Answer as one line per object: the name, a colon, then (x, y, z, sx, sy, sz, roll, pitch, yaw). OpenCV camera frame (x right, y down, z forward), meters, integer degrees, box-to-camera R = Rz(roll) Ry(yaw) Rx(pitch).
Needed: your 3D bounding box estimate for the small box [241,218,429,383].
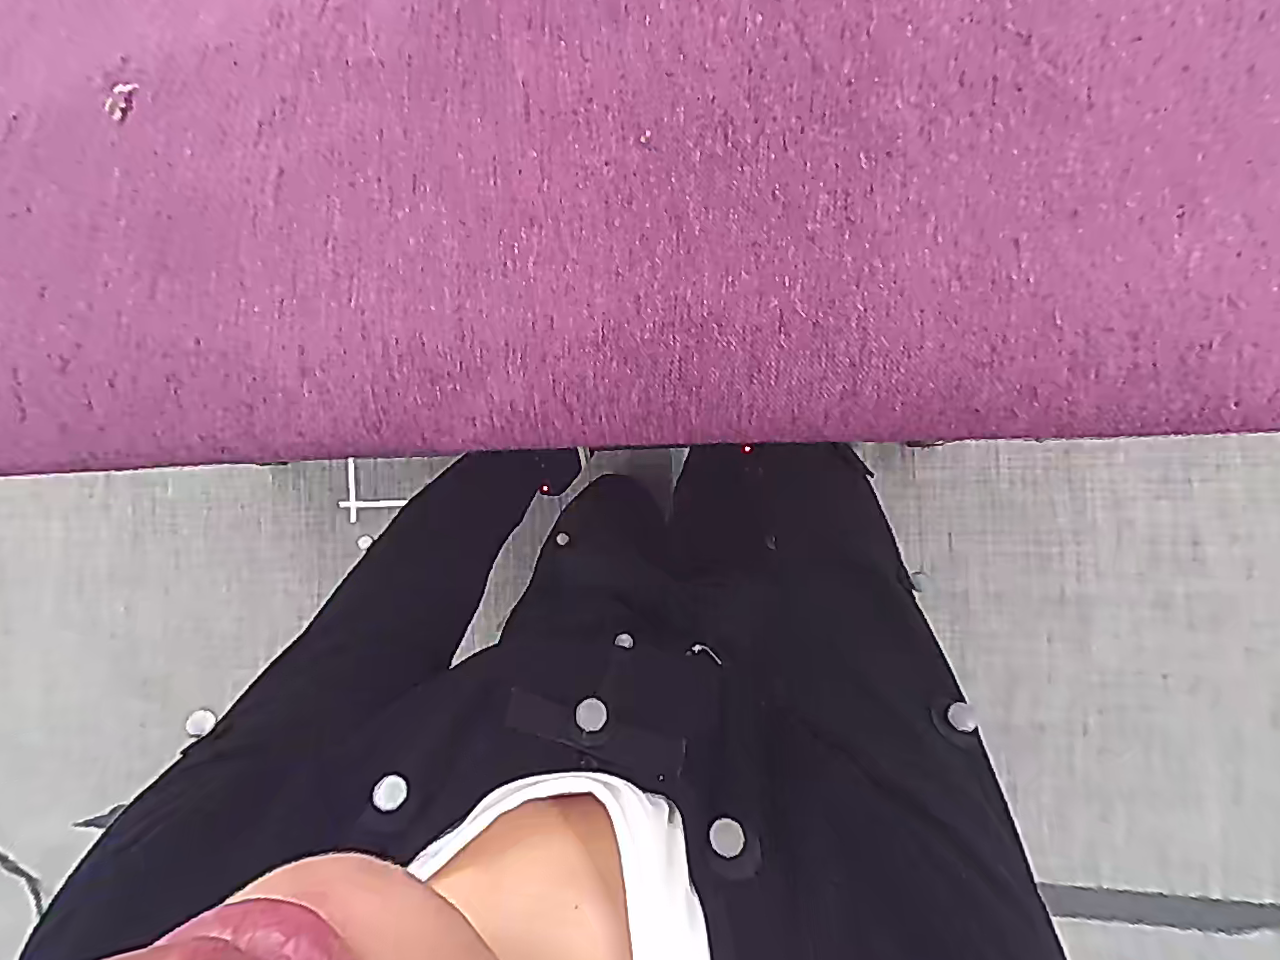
small box: (-0.418, -0.241, 0.764, 0.168, 0.176, 0.179, -3, 92, 8)

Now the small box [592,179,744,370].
small box: (0.036, -0.238, 0.665, 0.168, 0.176, 0.179, 0, 92, 5)
